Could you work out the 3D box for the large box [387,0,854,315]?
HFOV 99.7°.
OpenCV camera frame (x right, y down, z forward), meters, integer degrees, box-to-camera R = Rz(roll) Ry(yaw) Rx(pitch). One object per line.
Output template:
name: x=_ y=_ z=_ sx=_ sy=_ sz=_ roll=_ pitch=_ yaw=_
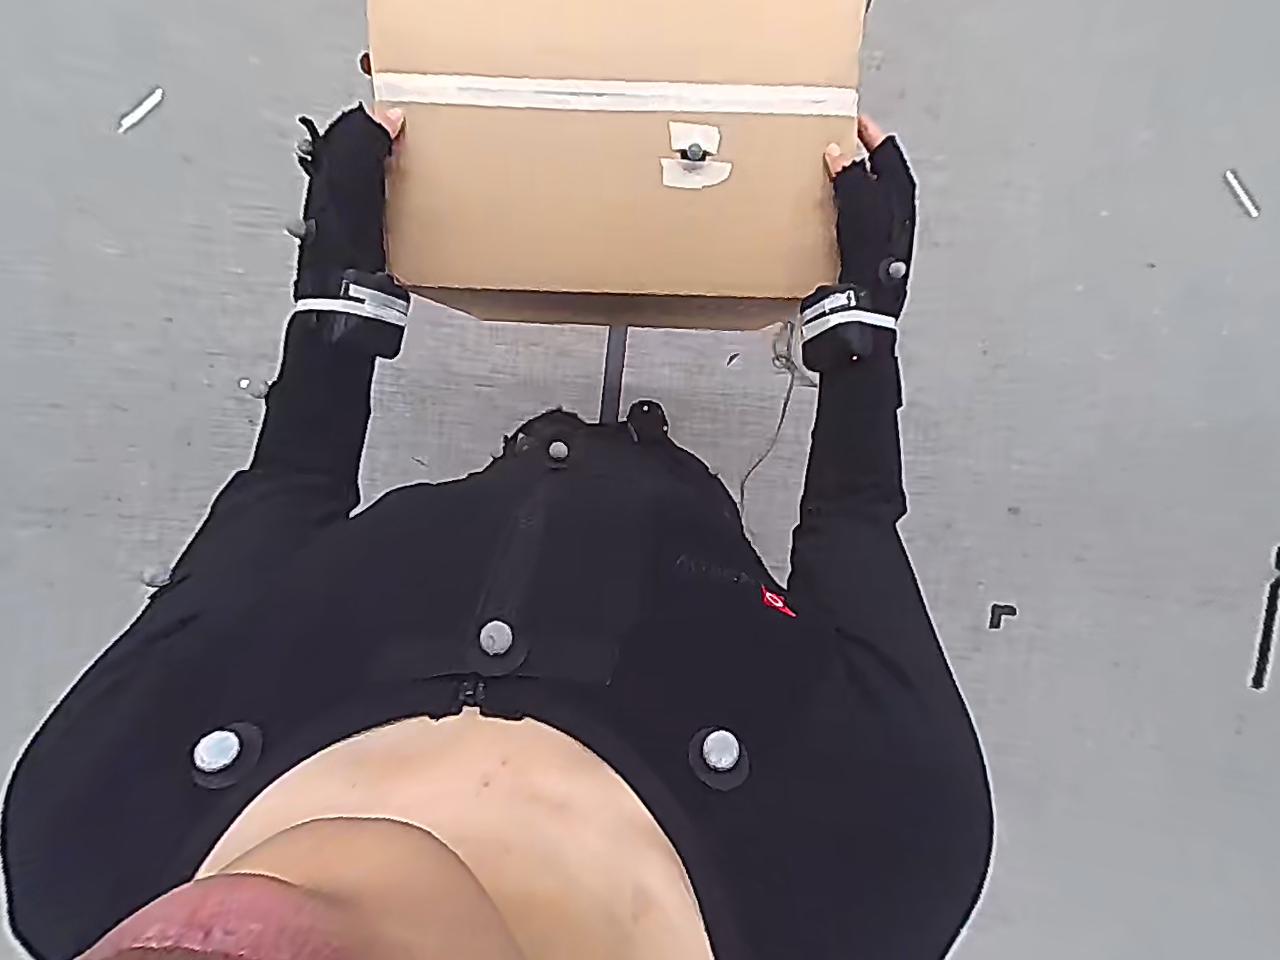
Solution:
large box: x=-0.020 y=-0.366 z=0.618 sx=0.408 sy=0.320 sz=0.320 roll=1 pitch=102 yaw=-1
